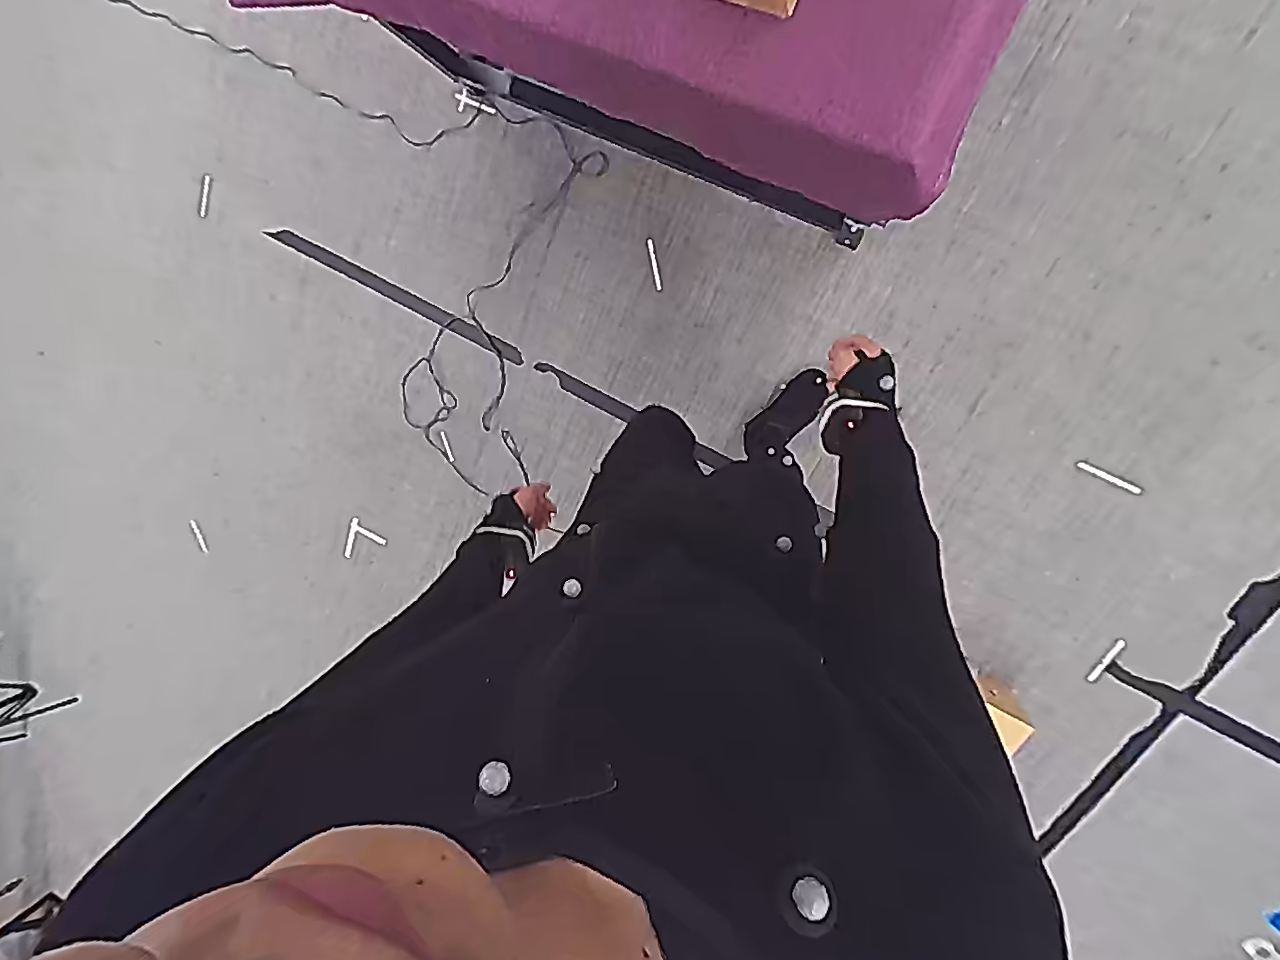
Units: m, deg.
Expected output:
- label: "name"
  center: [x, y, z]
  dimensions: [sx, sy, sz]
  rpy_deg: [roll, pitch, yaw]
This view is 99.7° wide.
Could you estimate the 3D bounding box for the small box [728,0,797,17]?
- label: "small box"
  center: [0.128, -0.678, 0.598]
  dimensions: [0.168, 0.176, 0.179]
  rpy_deg: [25, 108, 9]
